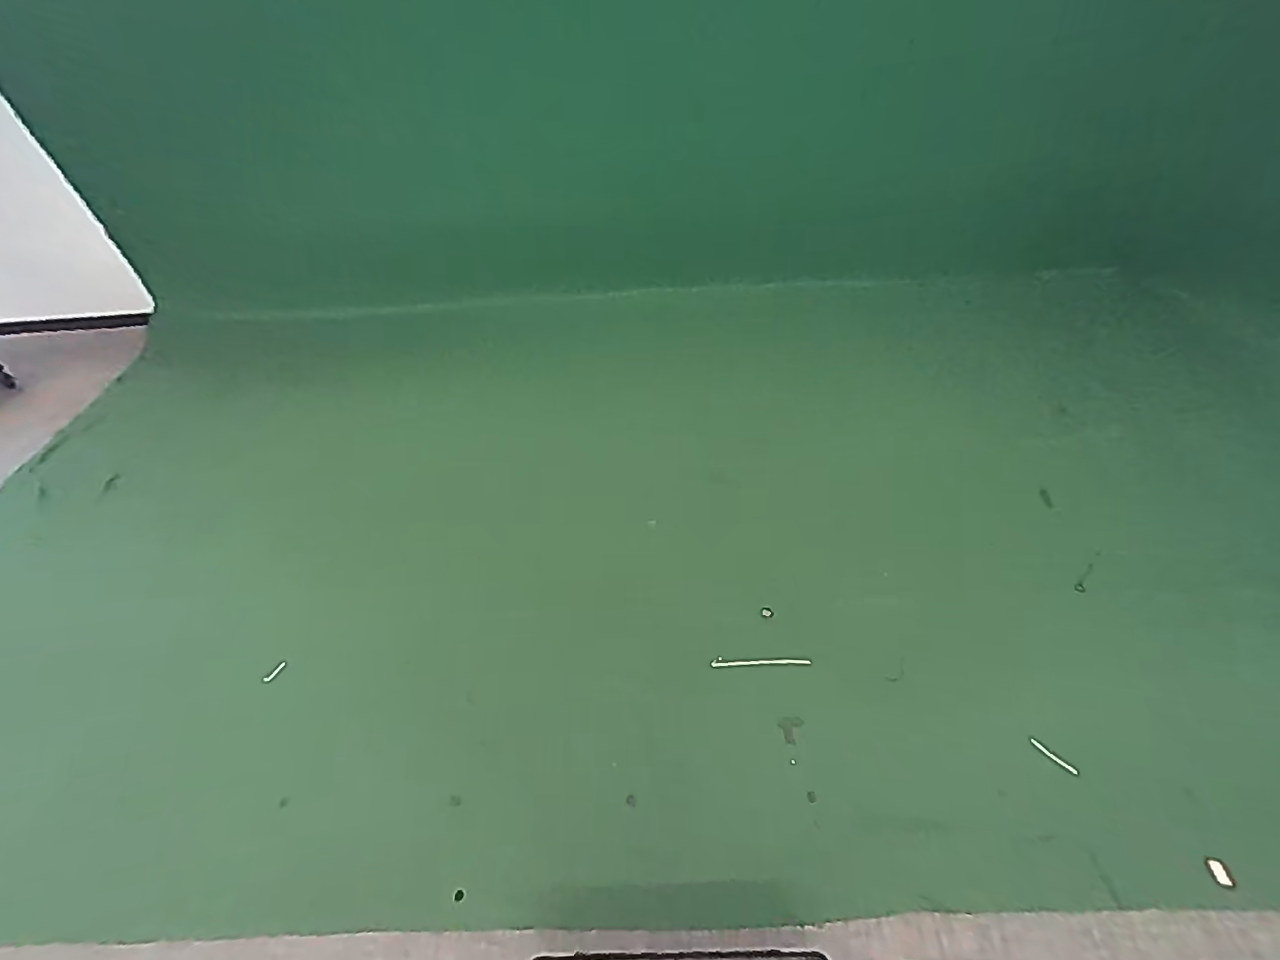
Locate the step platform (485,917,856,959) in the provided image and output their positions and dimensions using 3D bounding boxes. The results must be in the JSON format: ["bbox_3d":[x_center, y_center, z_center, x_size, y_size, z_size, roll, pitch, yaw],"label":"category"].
[{"bbox_3d":[0.056,0.985,0.972,0.684,0.204,0.286,-4,48,2],"label":"step platform"}]
